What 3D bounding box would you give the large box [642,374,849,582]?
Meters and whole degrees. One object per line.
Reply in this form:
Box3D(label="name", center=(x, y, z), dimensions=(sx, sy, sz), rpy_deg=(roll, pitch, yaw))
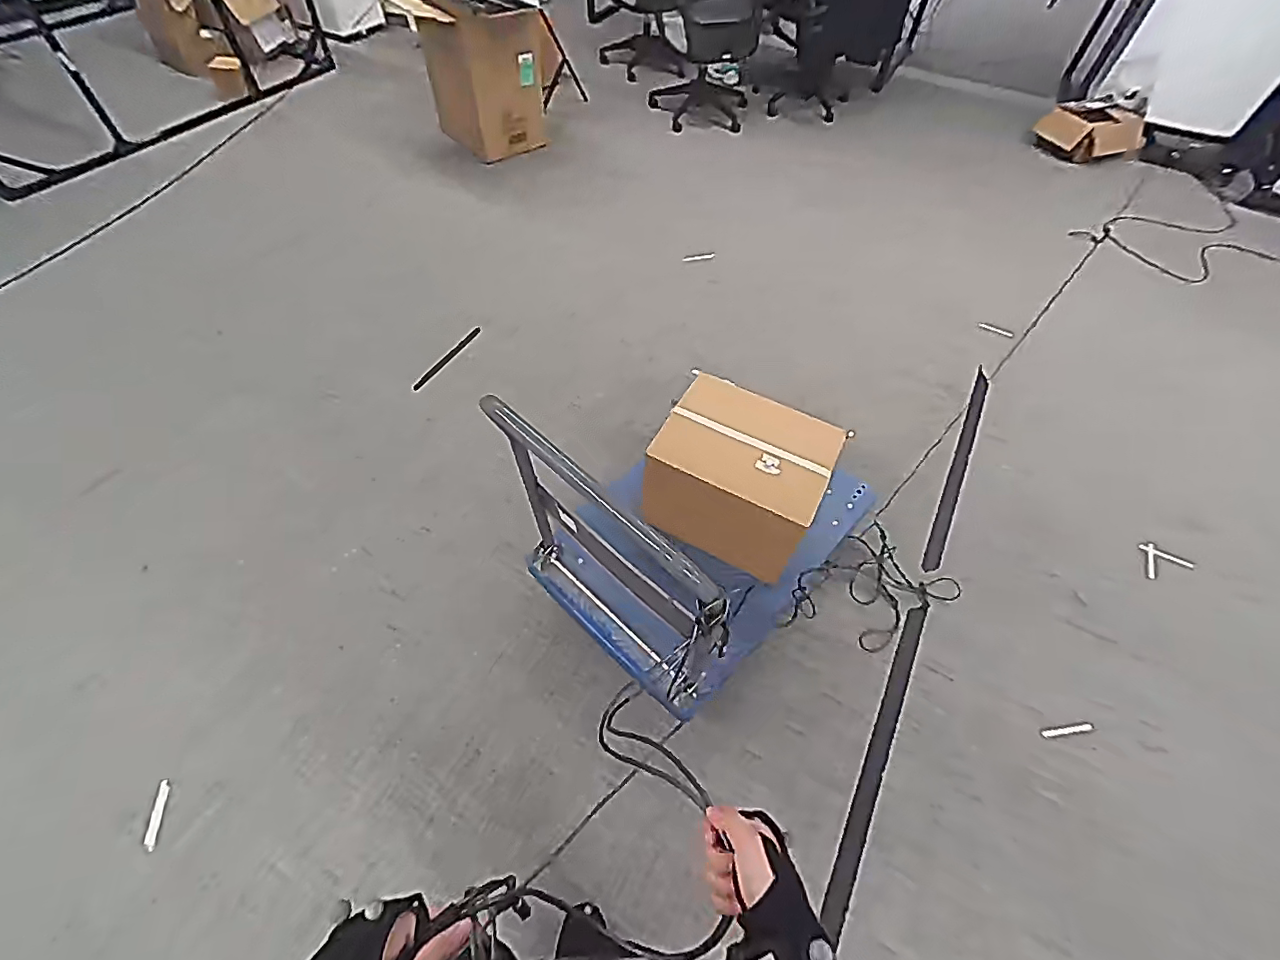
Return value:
Box3D(label="large box", center=(0.253, -0.004, 1.397), dimensions=(0.408, 0.320, 0.320), rpy_deg=(26, 59, 14))
